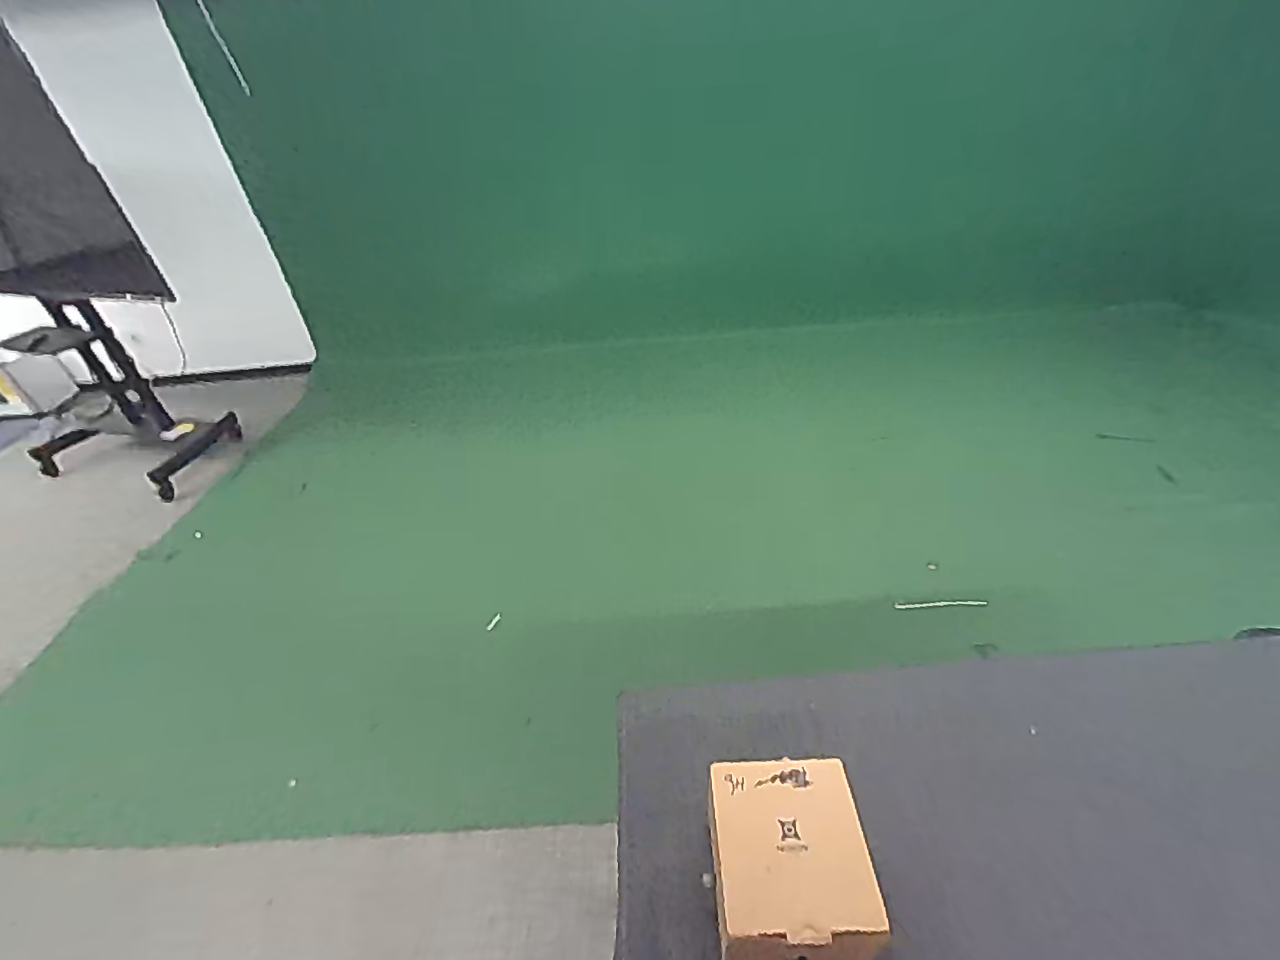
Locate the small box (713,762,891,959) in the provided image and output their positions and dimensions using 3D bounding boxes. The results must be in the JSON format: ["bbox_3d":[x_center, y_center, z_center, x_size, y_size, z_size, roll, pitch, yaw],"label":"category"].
[{"bbox_3d":[0.179,0.471,0.657,0.168,0.176,0.179,-3,37,3],"label":"small box"}]
